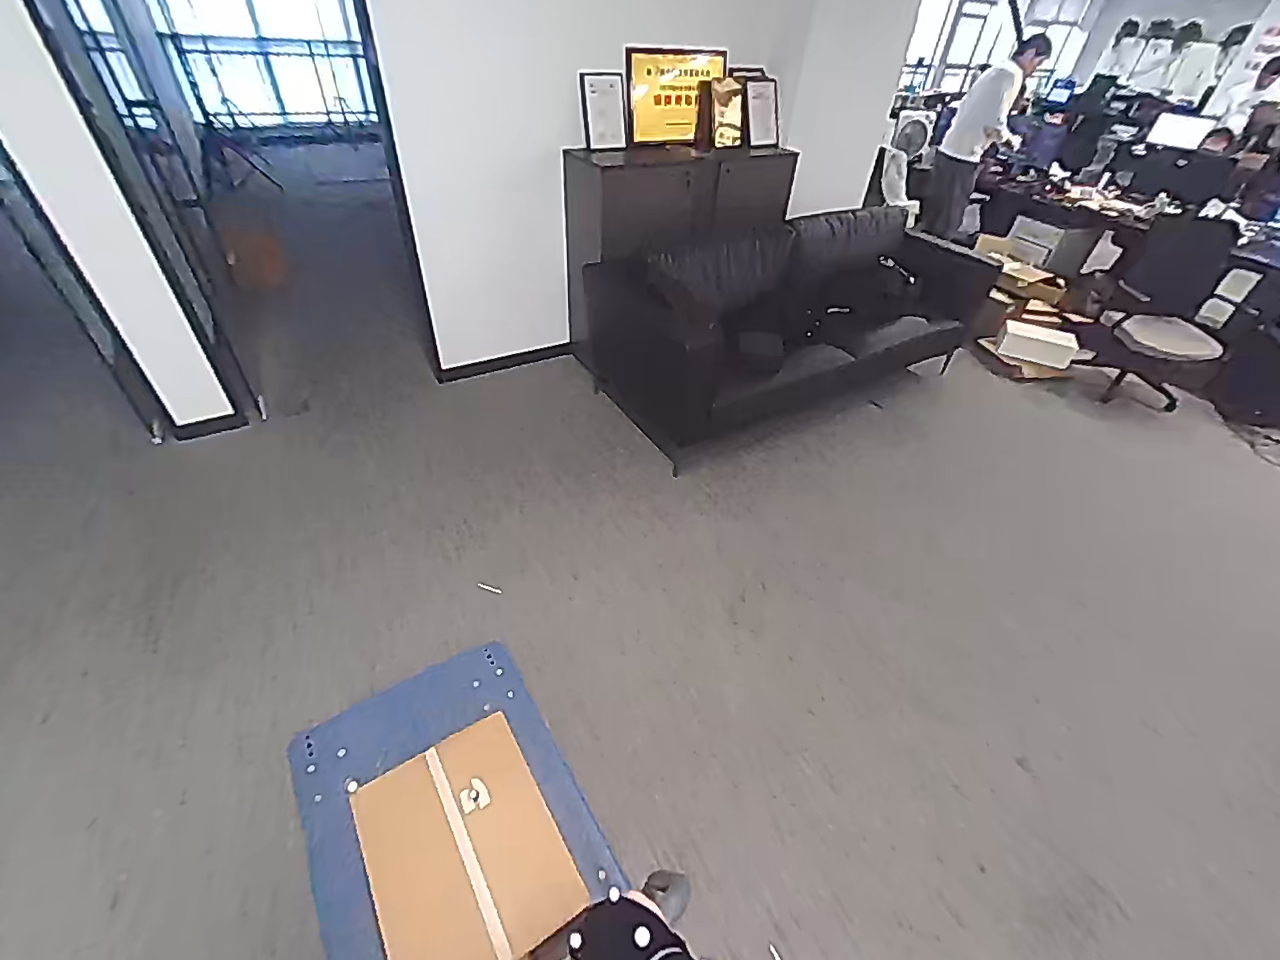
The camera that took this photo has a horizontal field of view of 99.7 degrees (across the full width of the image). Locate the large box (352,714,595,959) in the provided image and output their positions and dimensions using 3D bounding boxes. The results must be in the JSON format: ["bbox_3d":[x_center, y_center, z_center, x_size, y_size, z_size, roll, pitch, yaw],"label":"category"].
[{"bbox_3d":[-0.321,0.778,1.078,0.320,0.320,0.408,-21,46,-27],"label":"large box"}]
